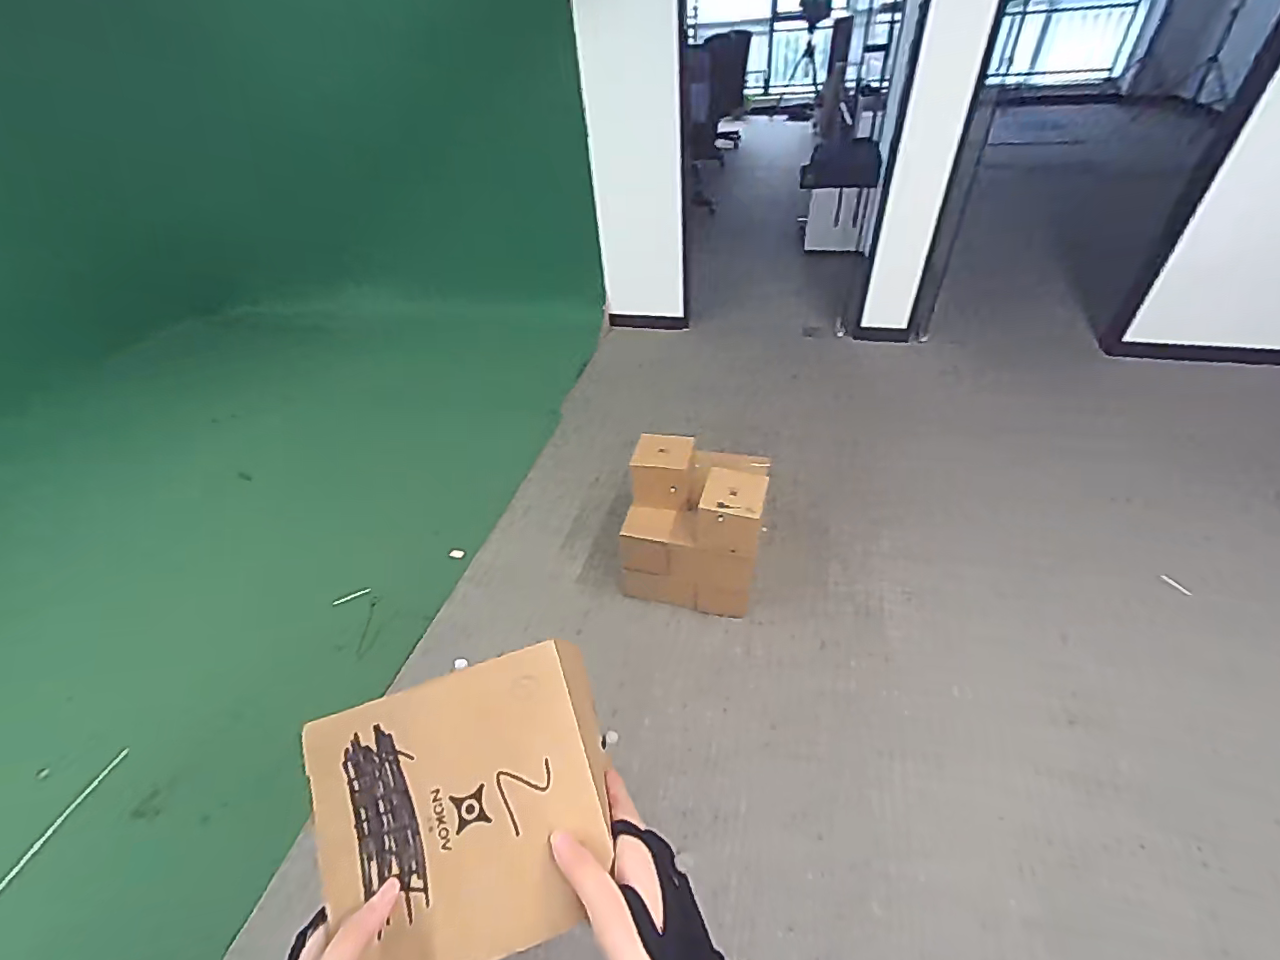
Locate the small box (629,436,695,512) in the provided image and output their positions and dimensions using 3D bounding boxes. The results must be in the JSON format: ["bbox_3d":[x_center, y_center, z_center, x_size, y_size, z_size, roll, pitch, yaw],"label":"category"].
[{"bbox_3d":[0.074,-0.018,1.692,0.179,0.176,0.168,6,40,13],"label":"small box"}]

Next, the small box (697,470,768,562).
[{"bbox_3d":[0.260,0.100,1.532,0.168,0.176,0.179,11,43,16],"label":"small box"}]
